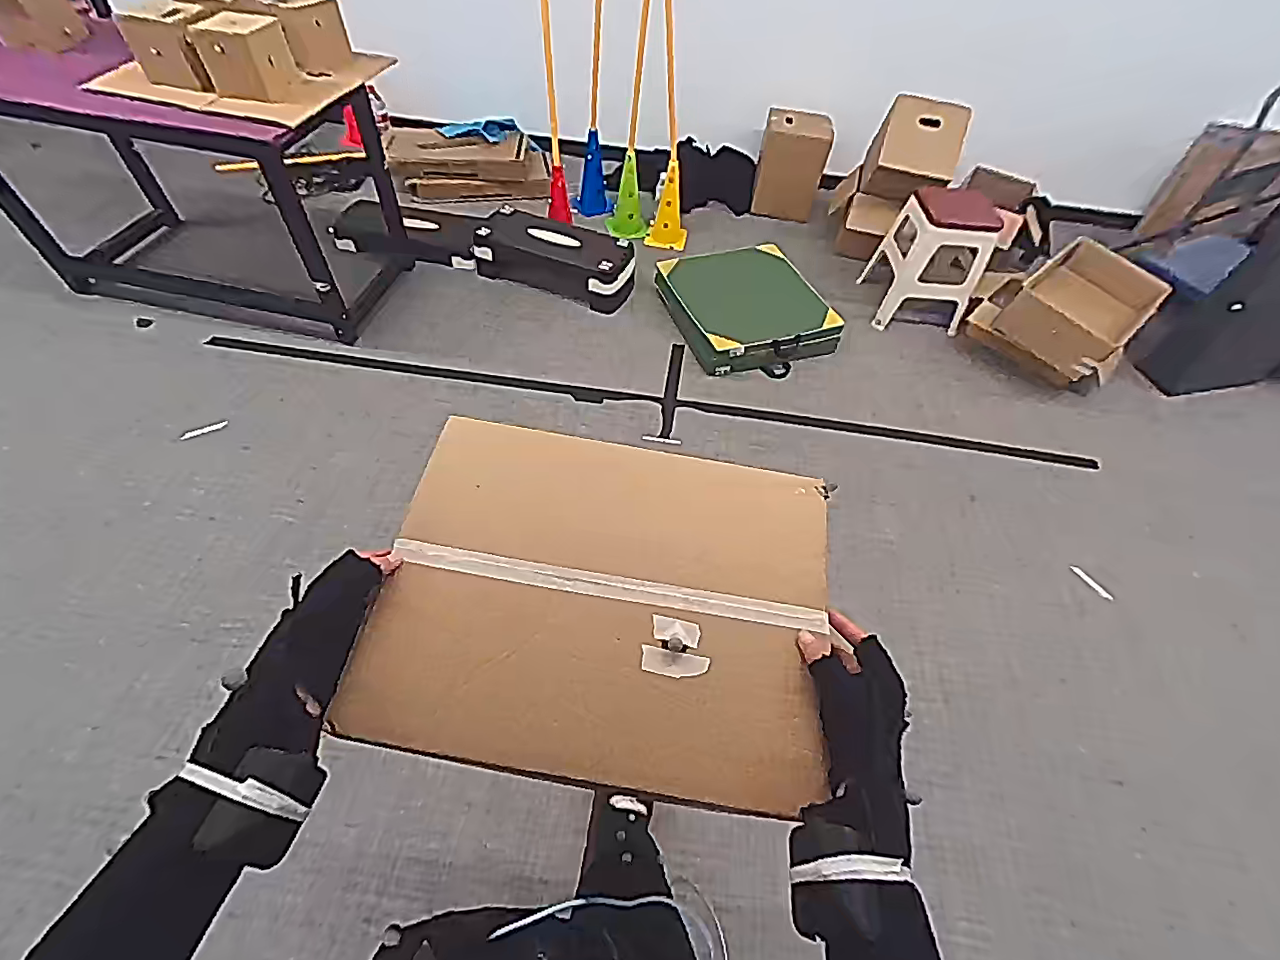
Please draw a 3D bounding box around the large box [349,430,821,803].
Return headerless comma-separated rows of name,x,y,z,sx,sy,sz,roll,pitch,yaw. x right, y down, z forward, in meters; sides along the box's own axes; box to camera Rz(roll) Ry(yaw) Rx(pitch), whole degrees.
large box,-0.039,0.178,0.647,0.408,0.320,0.320,10,60,1
